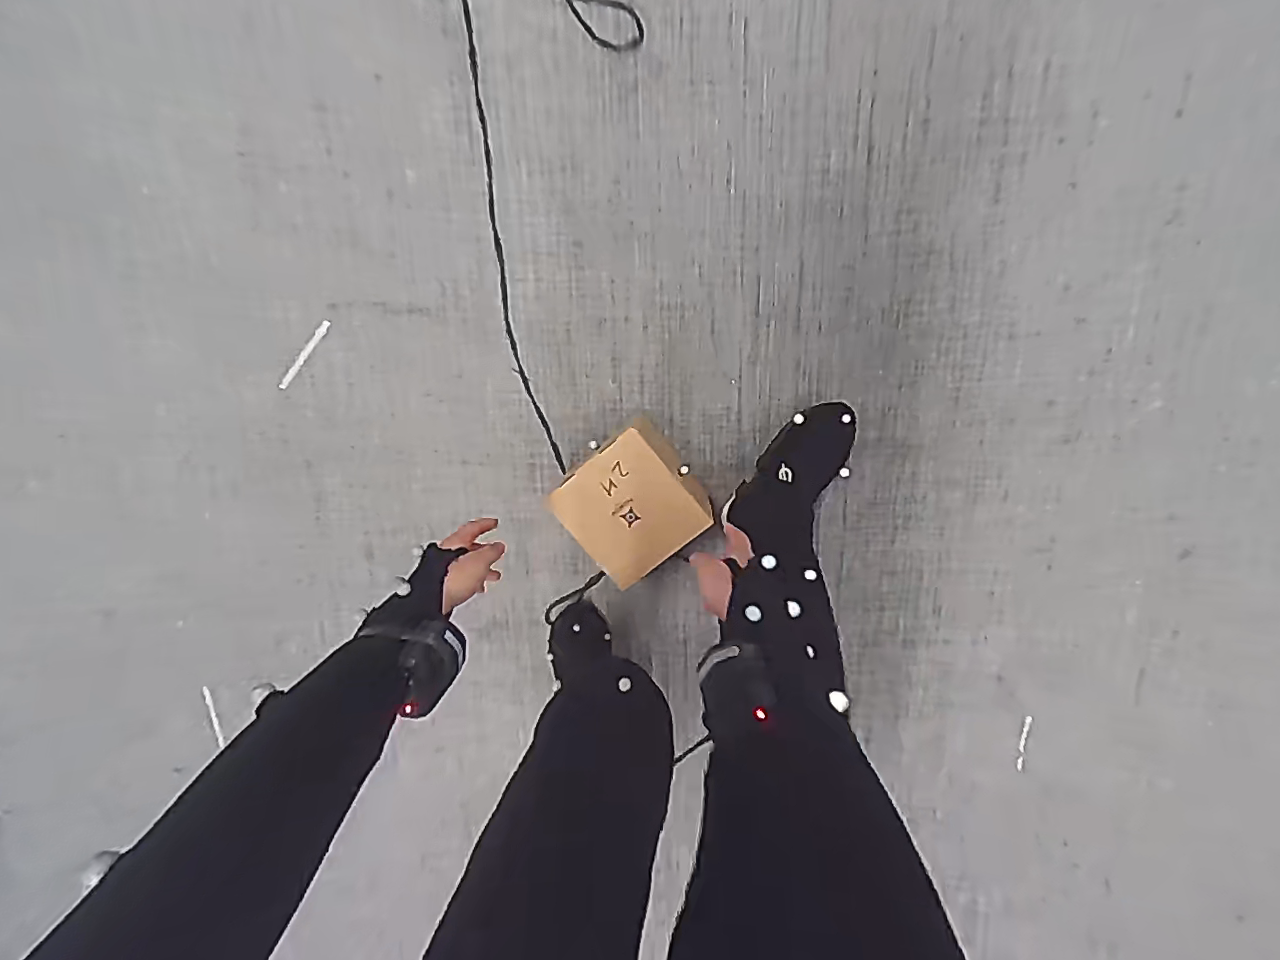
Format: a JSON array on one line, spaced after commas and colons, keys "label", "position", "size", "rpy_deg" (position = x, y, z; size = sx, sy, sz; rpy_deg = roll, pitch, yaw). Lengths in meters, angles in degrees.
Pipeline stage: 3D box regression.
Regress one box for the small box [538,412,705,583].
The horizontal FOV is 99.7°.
[{"label": "small box", "position": [-0.020, 0.015, 0.813], "size": [0.168, 0.176, 0.179], "rpy_deg": [-39, 98, 11]}]
